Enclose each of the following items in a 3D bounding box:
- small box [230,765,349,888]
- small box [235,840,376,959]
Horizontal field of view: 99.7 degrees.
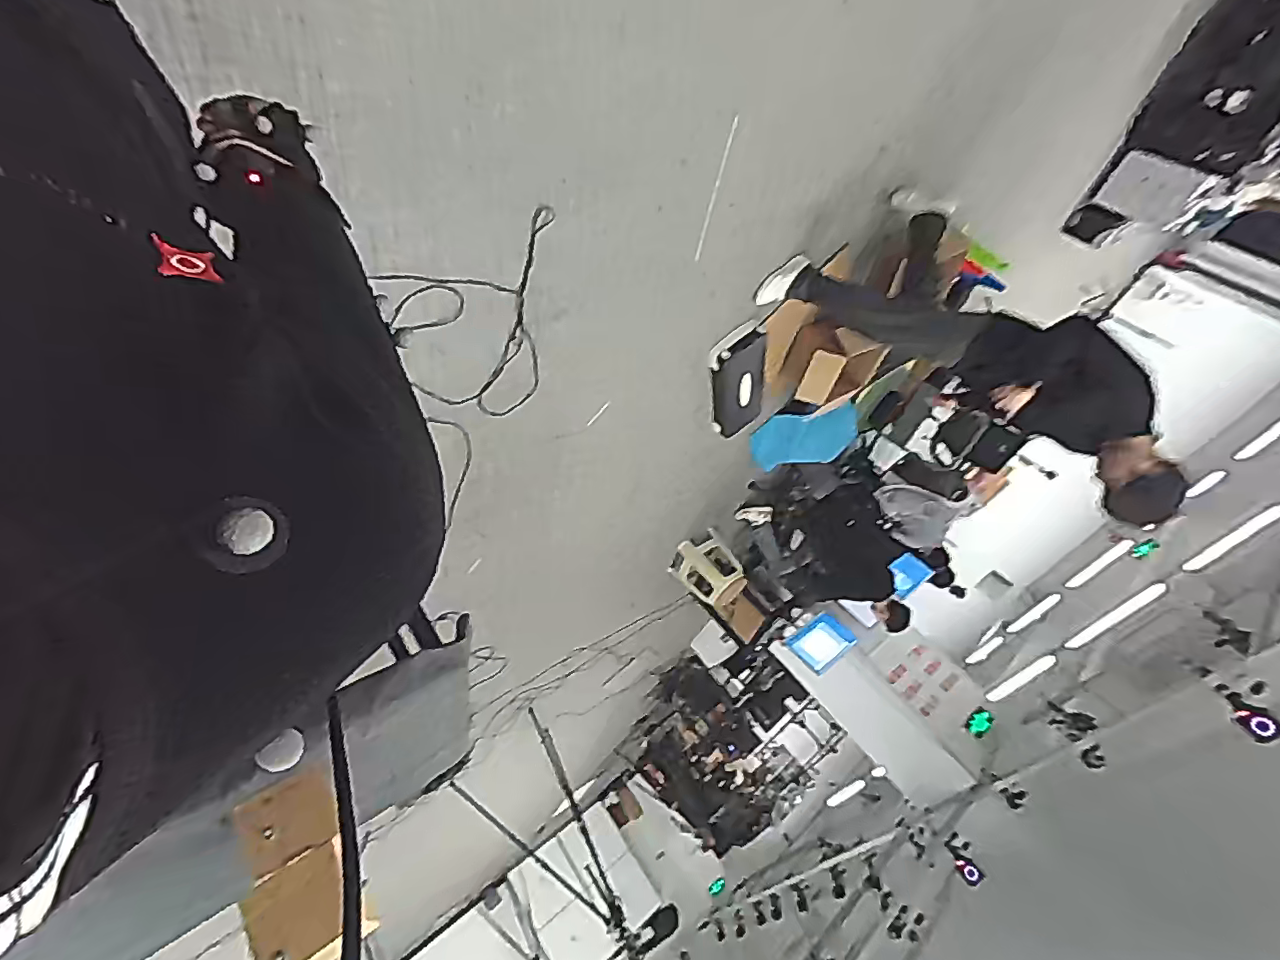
[{"bbox_3d":[-0.751,0.753,1.165,0.168,0.176,0.179,-21,146,-35],"label":"small box"},{"bbox_3d":[-0.665,0.865,1.084,0.179,0.176,0.168,-26,148,-29],"label":"small box"}]
